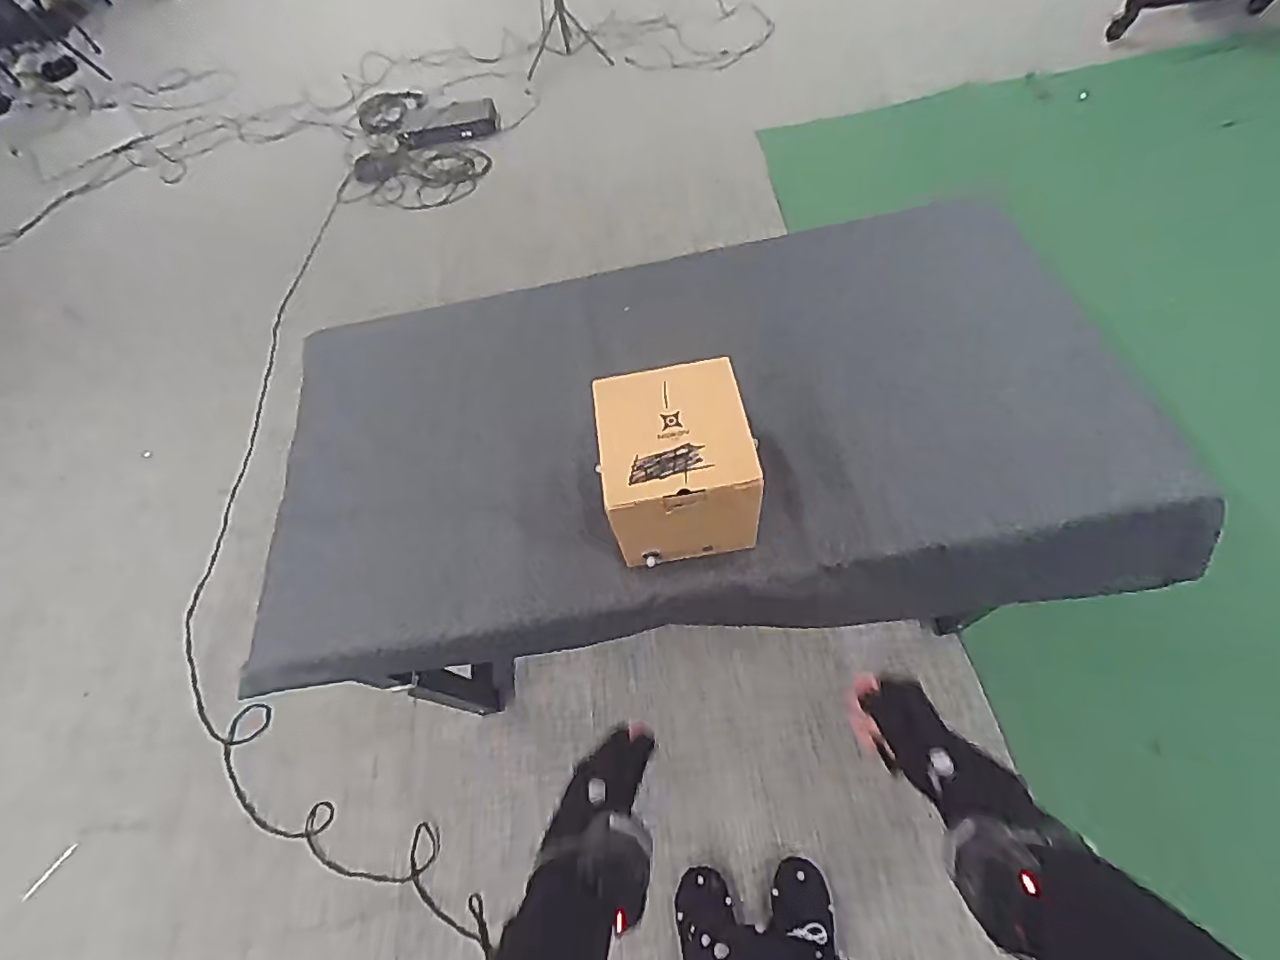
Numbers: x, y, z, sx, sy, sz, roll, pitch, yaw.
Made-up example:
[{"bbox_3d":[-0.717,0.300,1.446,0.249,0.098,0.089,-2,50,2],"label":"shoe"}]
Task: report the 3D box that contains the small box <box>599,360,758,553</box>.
[{"bbox_3d":[0.049,-0.019,0.681,0.168,0.176,0.179,-9,58,3],"label":"small box"}]
